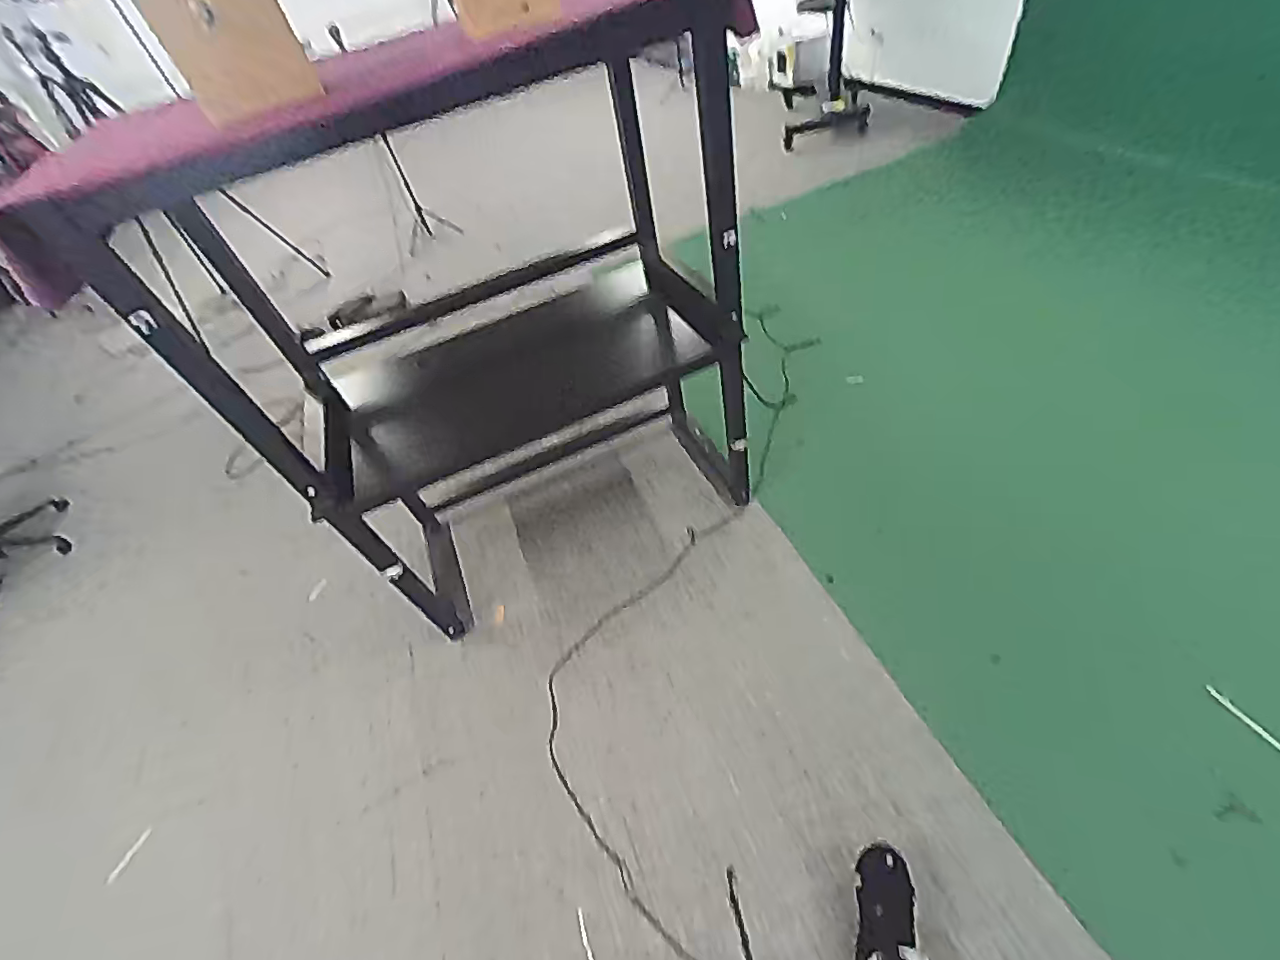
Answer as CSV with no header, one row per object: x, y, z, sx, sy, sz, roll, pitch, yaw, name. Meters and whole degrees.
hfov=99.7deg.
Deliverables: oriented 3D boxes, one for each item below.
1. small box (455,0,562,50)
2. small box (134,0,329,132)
-0.252,-0.895,0.964,0.168,0.176,0.179,-22,45,-5,small box
-0.632,-0.680,0.860,0.179,0.176,0.168,-27,47,-11,small box
